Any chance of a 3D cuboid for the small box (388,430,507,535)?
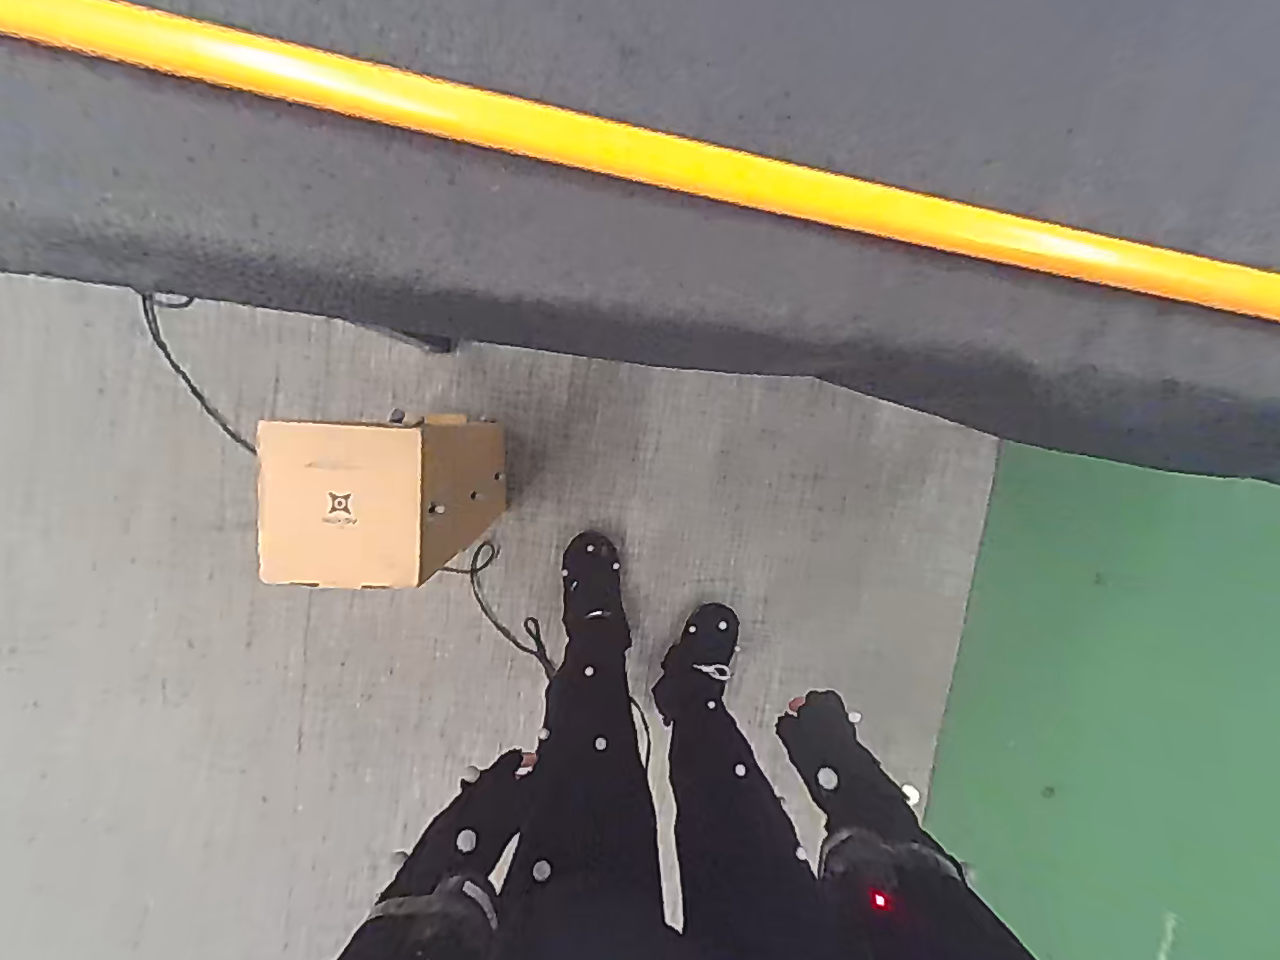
[{"bbox_3d":[-0.338,-0.002,0.976,0.168,0.176,0.179,-1,96,-3],"label":"small box"}]
